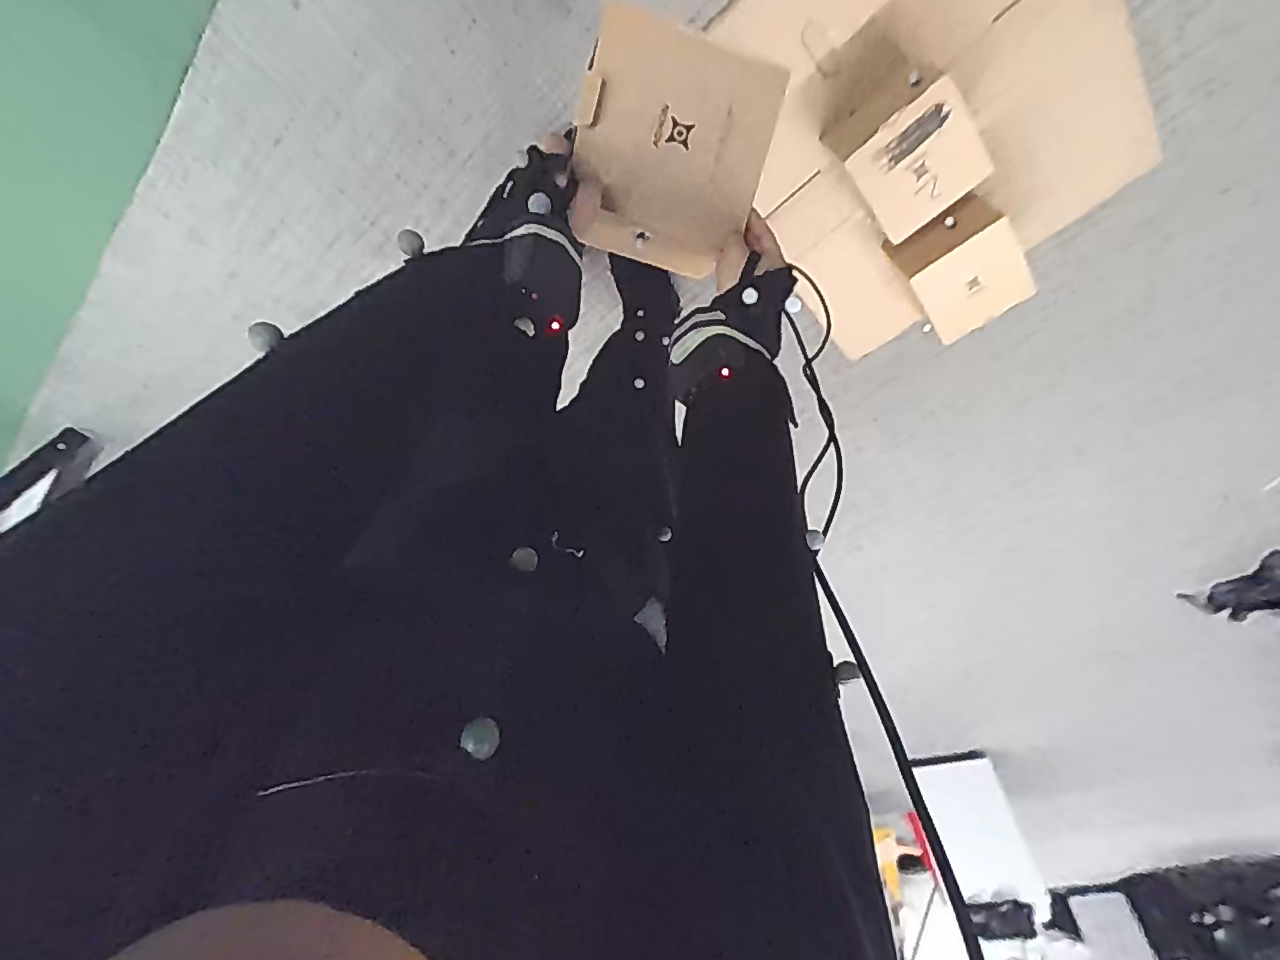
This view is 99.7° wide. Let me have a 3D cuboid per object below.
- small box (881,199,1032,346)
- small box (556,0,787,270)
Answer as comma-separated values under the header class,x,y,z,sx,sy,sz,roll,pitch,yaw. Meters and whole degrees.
class,x,y,z,sx,sy,sz,roll,pitch,yaw
small box,0.582,-0.394,1.012,0.168,0.176,0.179,-32,124,27
small box,0.019,-0.330,0.559,0.179,0.176,0.168,13,101,-10
